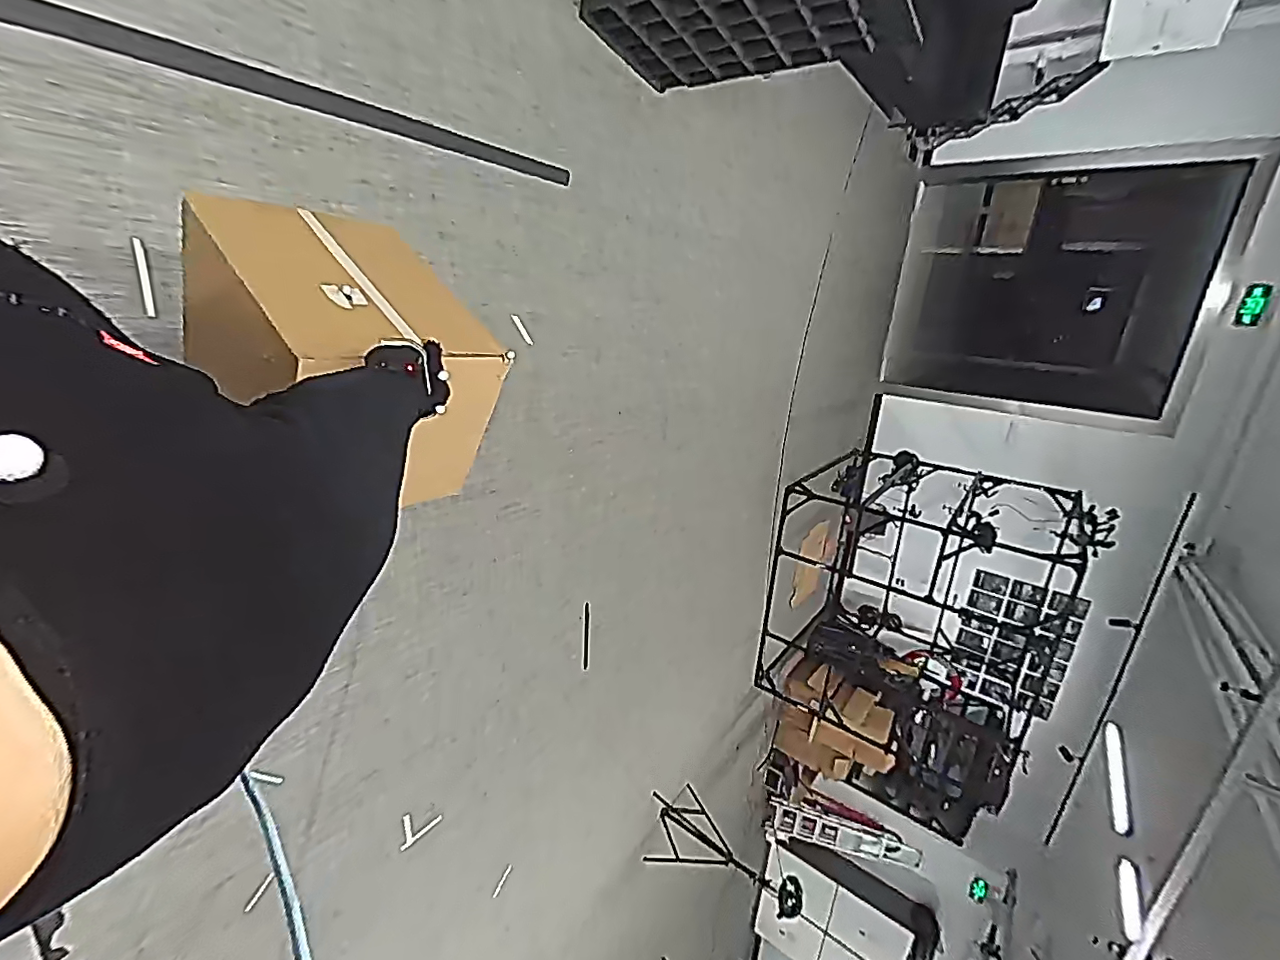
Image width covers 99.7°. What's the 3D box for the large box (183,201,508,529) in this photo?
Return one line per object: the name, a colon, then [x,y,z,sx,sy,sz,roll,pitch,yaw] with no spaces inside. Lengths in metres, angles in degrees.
large box: [-0.503,-0.188,0.907,0.320,0.408,0.320,-17,148,-50]
